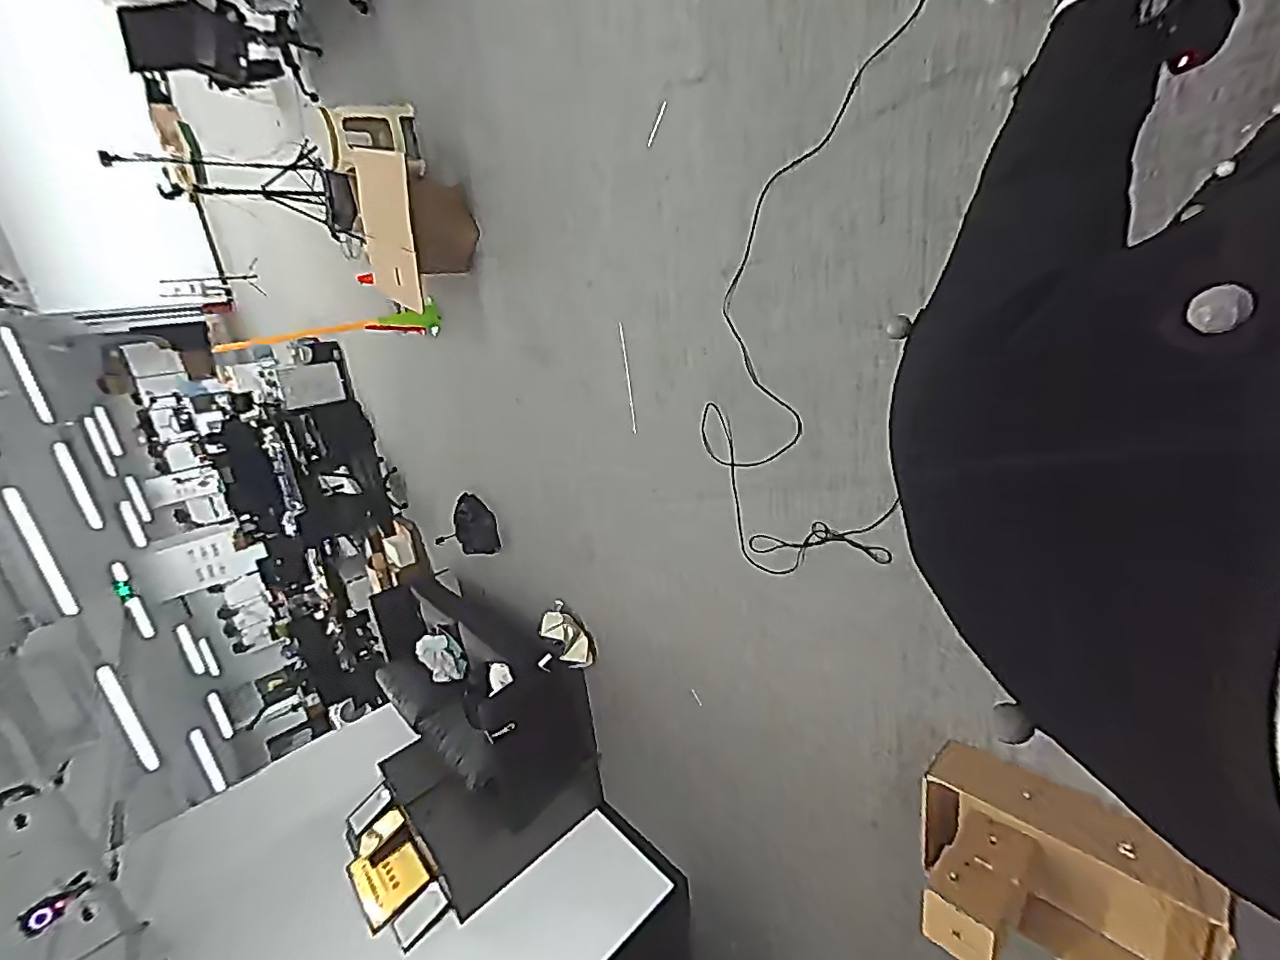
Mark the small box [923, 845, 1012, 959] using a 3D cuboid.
[{"bbox_3d":[0.878,1.137,1.449,0.168,0.176,0.179,11,116,46],"label":"small box"}]

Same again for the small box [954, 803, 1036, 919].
[{"bbox_3d":[1.019,1.081,1.552,0.168,0.176,0.179,5,112,47],"label":"small box"}]
